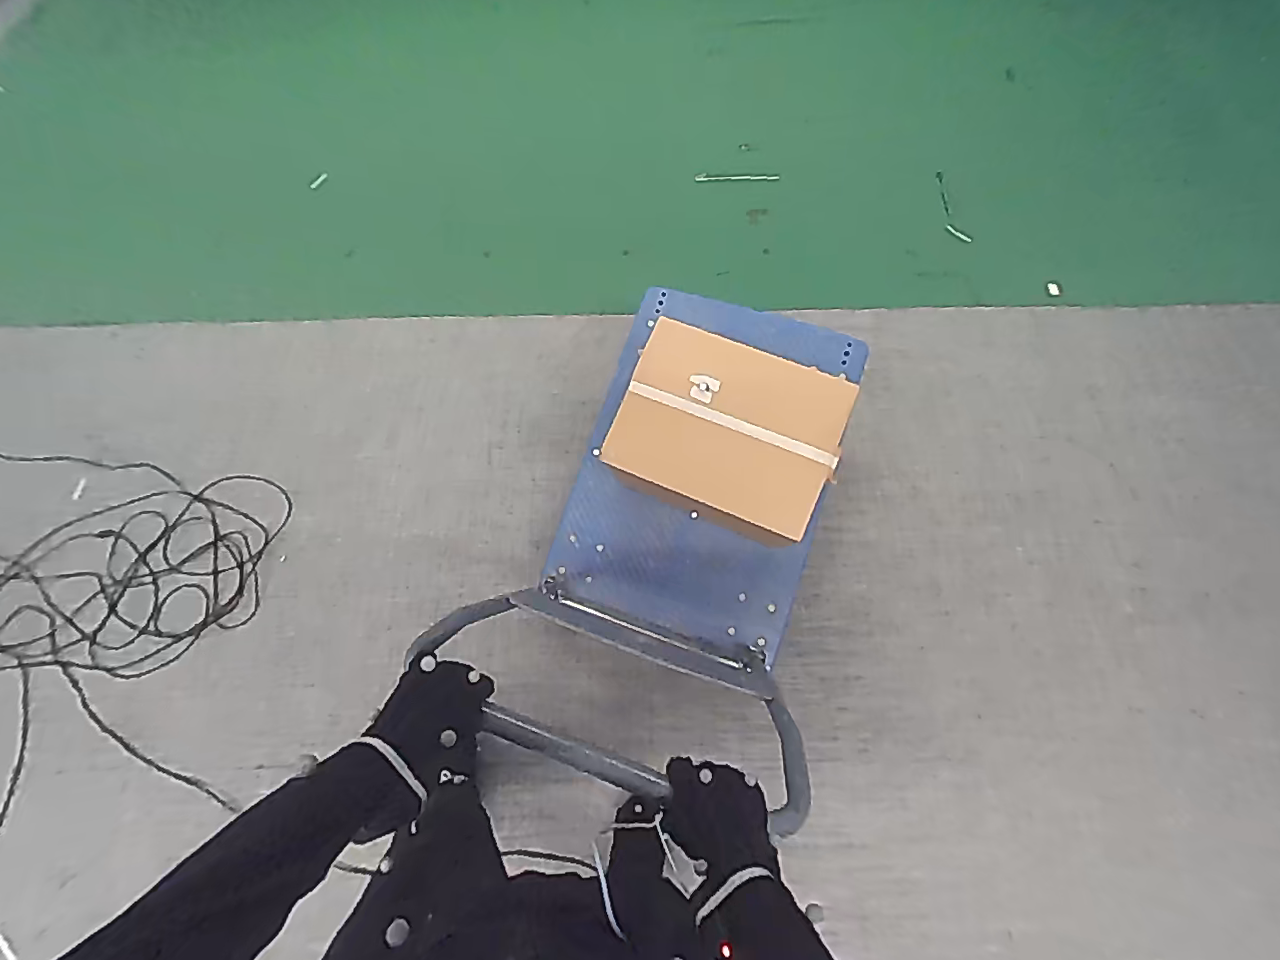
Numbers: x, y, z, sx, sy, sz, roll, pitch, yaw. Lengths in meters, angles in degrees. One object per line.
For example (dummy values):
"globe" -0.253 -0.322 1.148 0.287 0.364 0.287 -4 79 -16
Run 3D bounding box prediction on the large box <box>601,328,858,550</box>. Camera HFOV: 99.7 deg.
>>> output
"large box" 0.183 -0.067 1.154 0.408 0.320 0.320 23 83 11
